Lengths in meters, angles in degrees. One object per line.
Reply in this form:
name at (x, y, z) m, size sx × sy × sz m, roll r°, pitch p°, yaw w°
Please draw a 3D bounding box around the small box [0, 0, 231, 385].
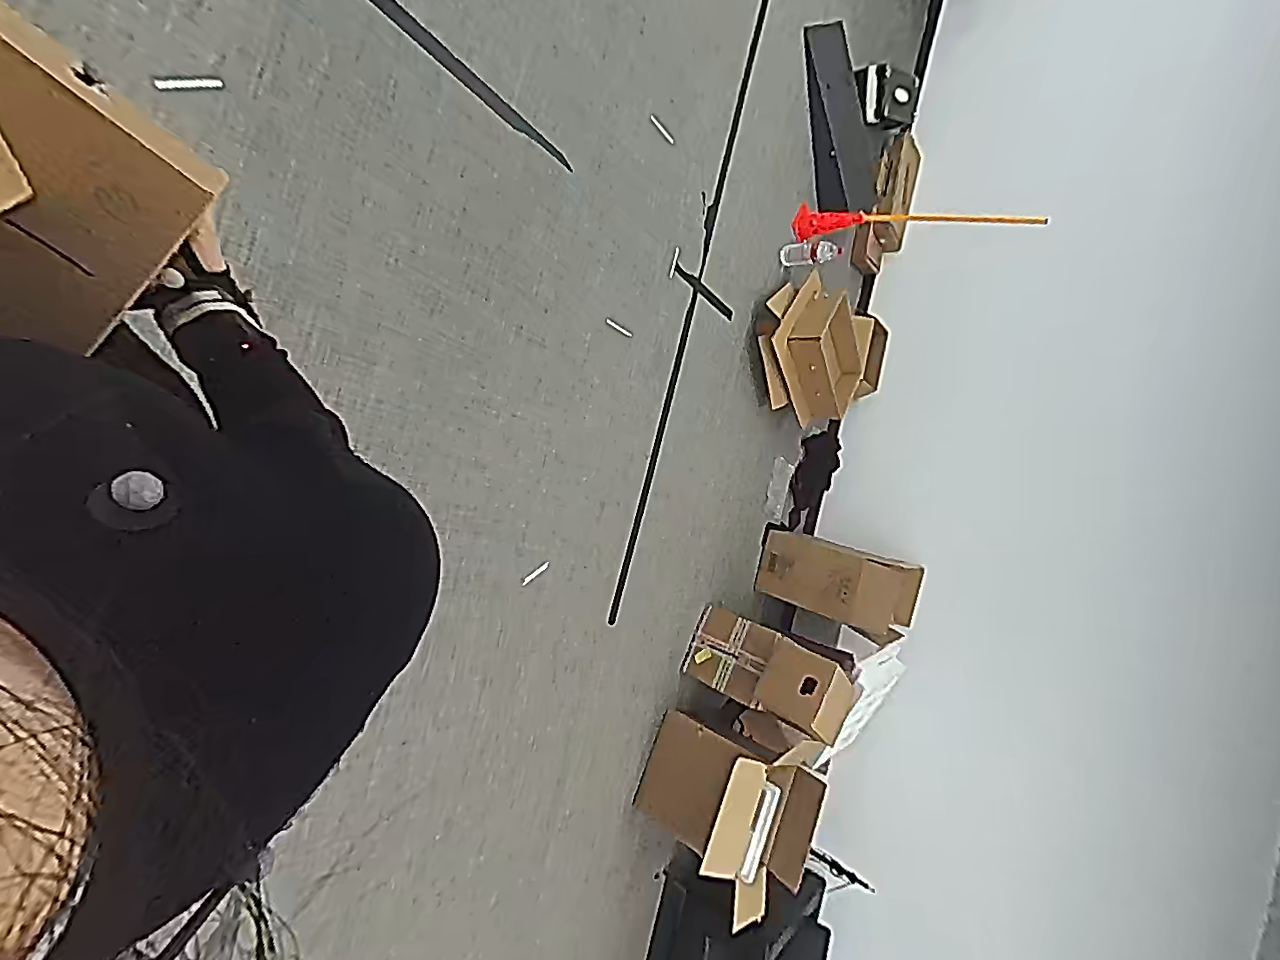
small box at (-0.410, -0.197, 0.351) m, size 0.168 × 0.176 × 0.179 m, roll -48°, pitch 134°, yaw 2°
